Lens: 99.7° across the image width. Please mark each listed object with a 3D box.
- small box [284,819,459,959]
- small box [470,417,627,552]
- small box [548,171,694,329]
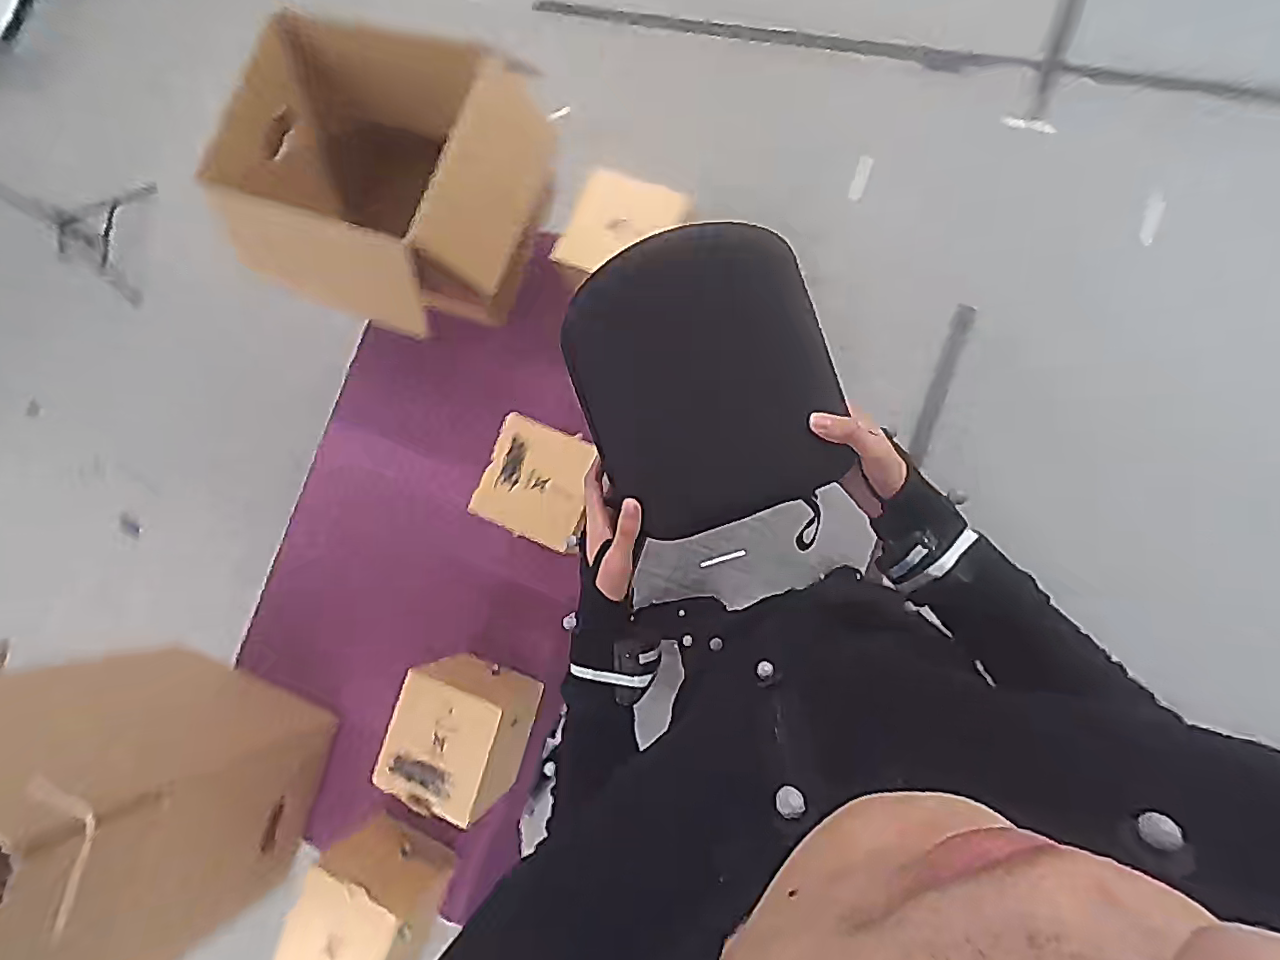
[{"bbox_3d":[-0.420,0.696,0.868,0.168,0.176,0.179,17,85,13],"label":"small box"},{"bbox_3d":[-0.143,0.015,0.901,0.179,0.176,0.168,22,88,13],"label":"small box"},{"bbox_3d":[-0.023,-0.383,0.927,0.179,0.176,0.168,24,89,14],"label":"small box"}]
